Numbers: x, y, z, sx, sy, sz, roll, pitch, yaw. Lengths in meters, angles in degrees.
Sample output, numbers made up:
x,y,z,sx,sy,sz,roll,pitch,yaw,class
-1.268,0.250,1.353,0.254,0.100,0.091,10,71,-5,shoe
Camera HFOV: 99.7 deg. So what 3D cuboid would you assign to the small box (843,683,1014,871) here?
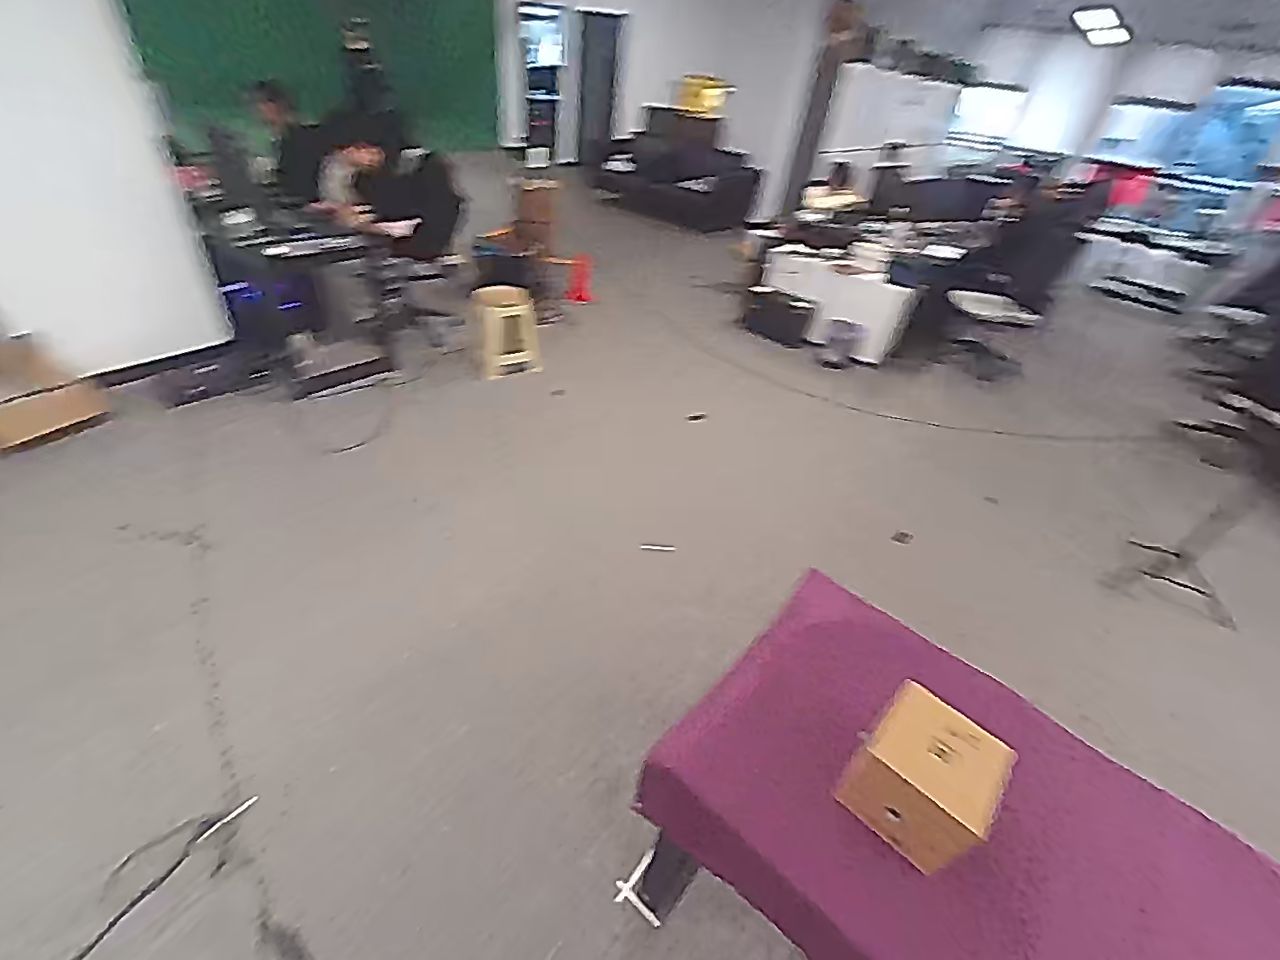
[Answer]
x,y,z,sx,sy,sz,roll,pitch,yaw,class
0.455,0.479,0.875,0.168,0.176,0.179,36,46,29,small box
